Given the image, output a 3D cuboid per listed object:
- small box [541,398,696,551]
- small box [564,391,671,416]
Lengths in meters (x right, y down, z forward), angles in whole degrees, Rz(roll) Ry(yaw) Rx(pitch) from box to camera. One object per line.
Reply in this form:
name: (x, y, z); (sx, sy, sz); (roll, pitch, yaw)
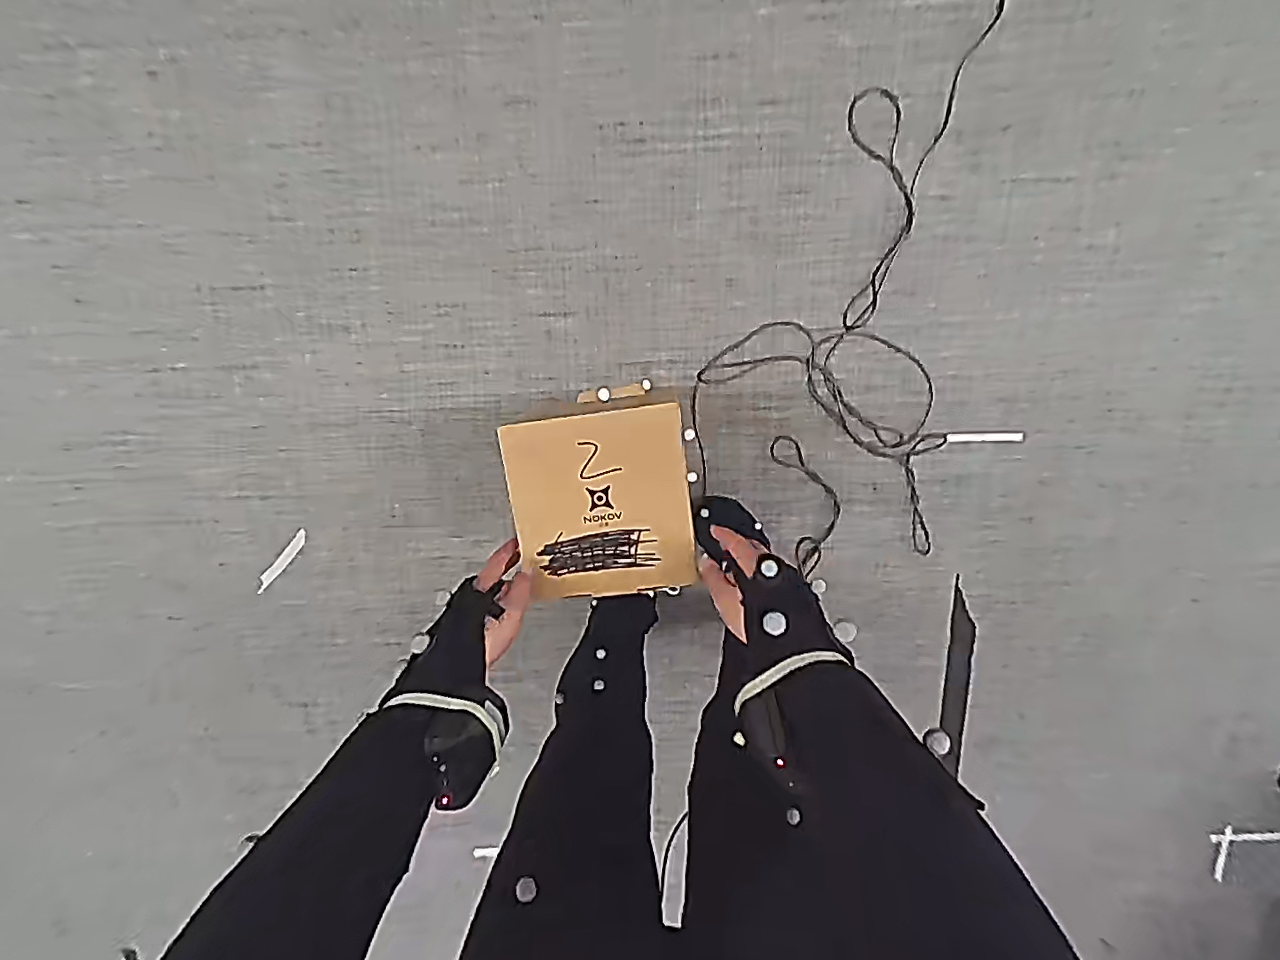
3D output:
small box: (-0.023, -0.016, 0.740); (0.179, 0.176, 0.168); (-7, 103, 4)
small box: (-0.021, -0.050, 0.898); (0.168, 0.176, 0.179); (-9, 103, 4)
